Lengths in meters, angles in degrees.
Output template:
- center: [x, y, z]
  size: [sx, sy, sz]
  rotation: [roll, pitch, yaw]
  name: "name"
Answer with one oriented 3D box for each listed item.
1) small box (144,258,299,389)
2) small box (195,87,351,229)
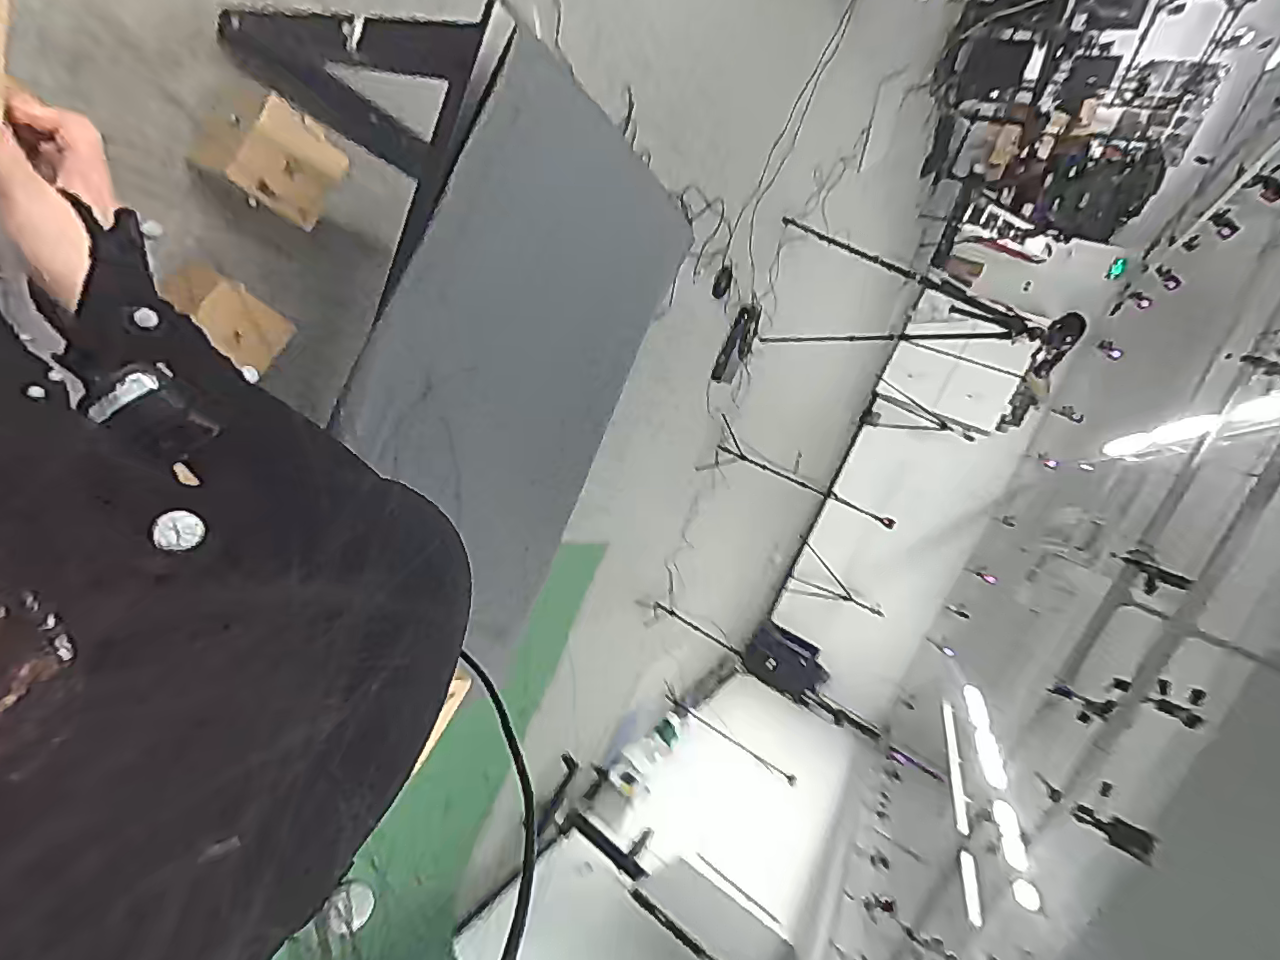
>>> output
- center: [-0.864, -0.322, 1.114]
  size: [0.179, 0.176, 0.168]
  rotation: [-60, 155, -10]
  name: "small box"
- center: [-0.727, -0.638, 1.071]
  size: [0.179, 0.176, 0.168]
  rotation: [-63, 154, -2]
  name: "small box"
